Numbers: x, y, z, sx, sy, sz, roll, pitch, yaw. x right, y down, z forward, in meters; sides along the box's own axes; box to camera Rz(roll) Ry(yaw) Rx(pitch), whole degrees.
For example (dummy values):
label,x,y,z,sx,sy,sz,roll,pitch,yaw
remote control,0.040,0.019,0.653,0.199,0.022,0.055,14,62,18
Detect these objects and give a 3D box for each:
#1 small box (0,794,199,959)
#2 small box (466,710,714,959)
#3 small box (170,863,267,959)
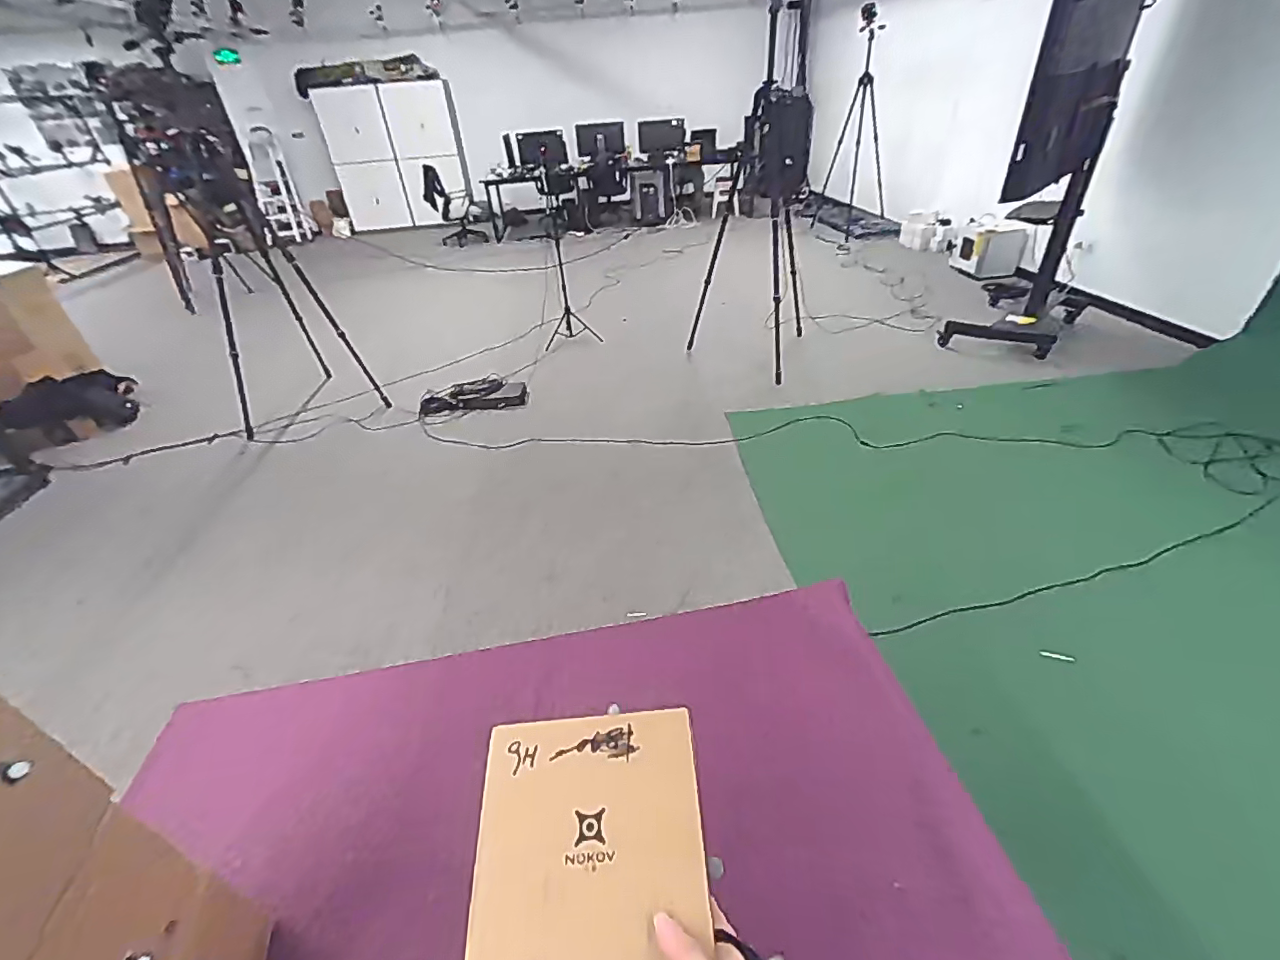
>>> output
label,x,y,z,sx,sy,sz,roll,pitch,yaw
small box,-0.541,0.410,0.462,0.179,0.176,0.168,-9,36,-9
small box,-0.029,0.313,0.453,0.168,0.176,0.179,-5,50,2
small box,-0.528,0.542,0.557,0.168,0.176,0.179,-8,35,-7
